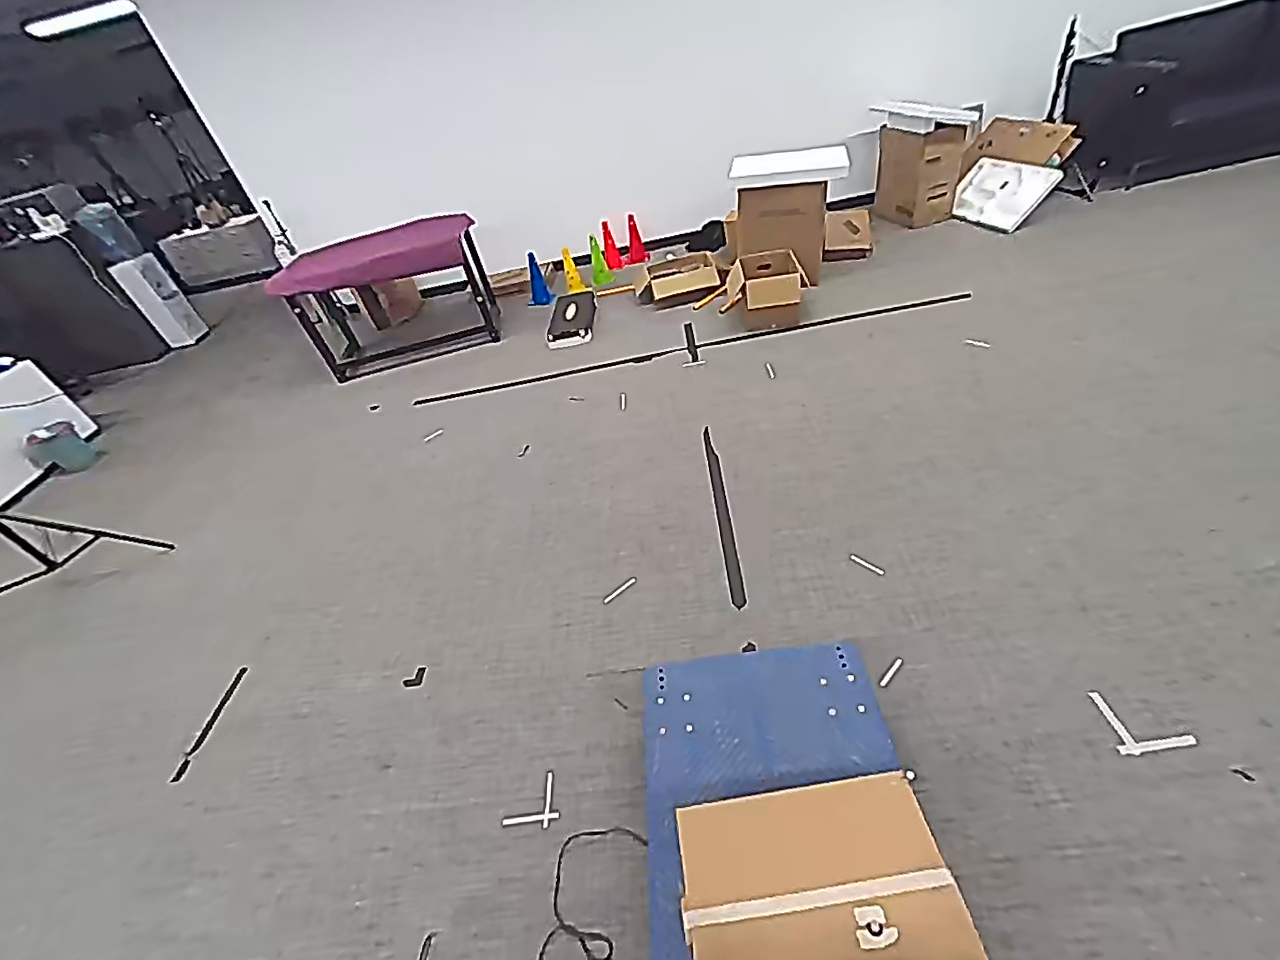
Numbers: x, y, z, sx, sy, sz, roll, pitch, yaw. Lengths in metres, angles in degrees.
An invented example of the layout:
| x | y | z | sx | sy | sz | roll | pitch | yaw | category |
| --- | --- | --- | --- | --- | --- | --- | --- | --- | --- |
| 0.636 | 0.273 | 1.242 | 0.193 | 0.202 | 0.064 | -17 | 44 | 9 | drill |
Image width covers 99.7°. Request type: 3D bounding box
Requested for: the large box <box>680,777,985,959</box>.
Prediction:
| x | y | z | sx | sy | sz | roll | pitch | yaw | category |
| --- | --- | --- | --- | --- | --- | --- | --- | --- | --- |
| 0.301 | 0.763 | 0.921 | 0.408 | 0.320 | 0.320 | -11 | 40 | 2 | large box |
